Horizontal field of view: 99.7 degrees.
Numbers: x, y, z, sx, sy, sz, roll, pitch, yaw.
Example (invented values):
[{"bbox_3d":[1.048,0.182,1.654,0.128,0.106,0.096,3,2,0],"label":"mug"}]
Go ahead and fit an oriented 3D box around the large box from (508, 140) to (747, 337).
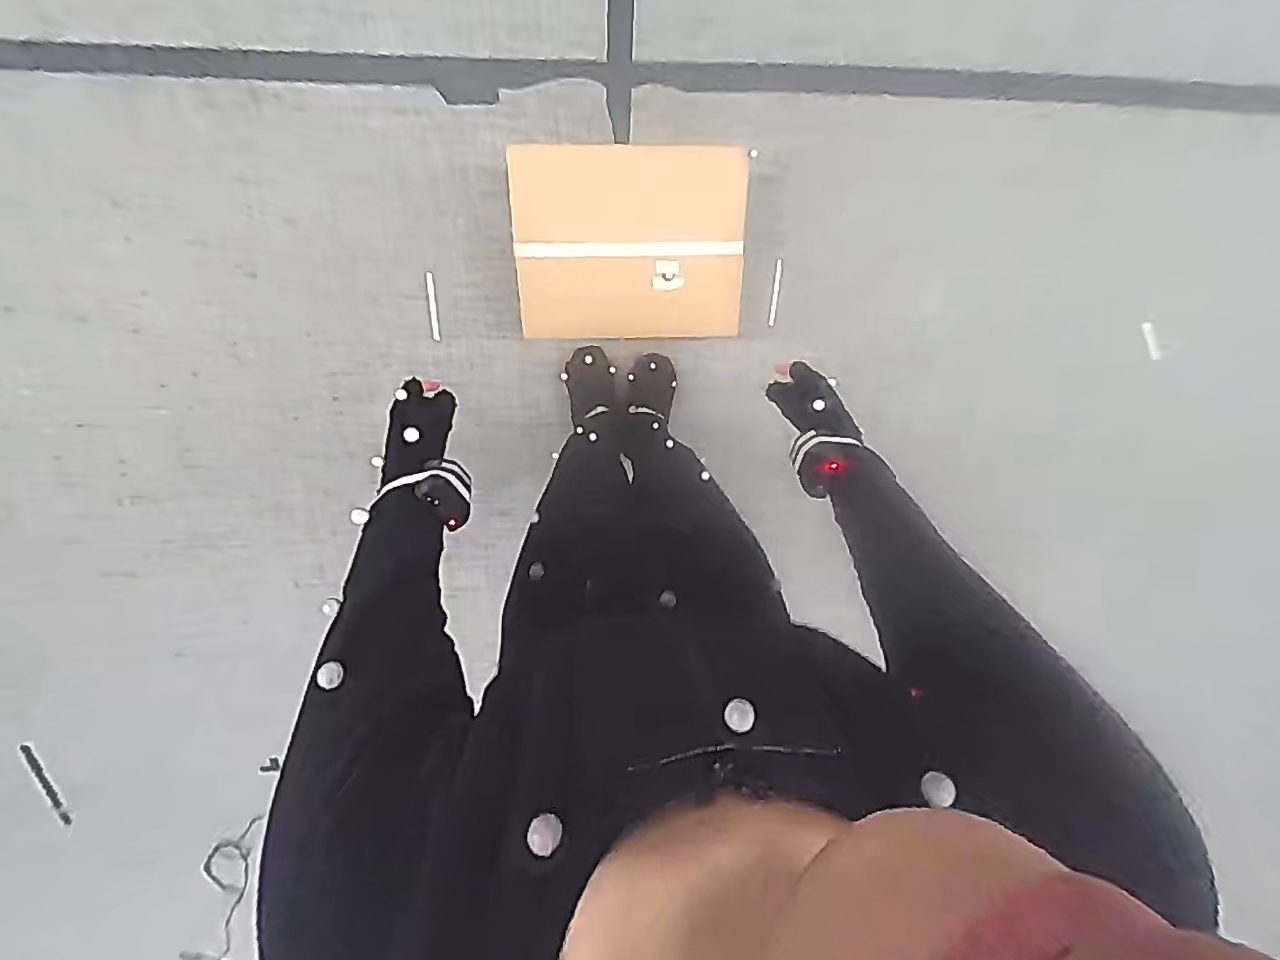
[{"bbox_3d":[-0.030,-0.478,1.086,0.408,0.320,0.320,-3,116,-5],"label":"large box"}]
